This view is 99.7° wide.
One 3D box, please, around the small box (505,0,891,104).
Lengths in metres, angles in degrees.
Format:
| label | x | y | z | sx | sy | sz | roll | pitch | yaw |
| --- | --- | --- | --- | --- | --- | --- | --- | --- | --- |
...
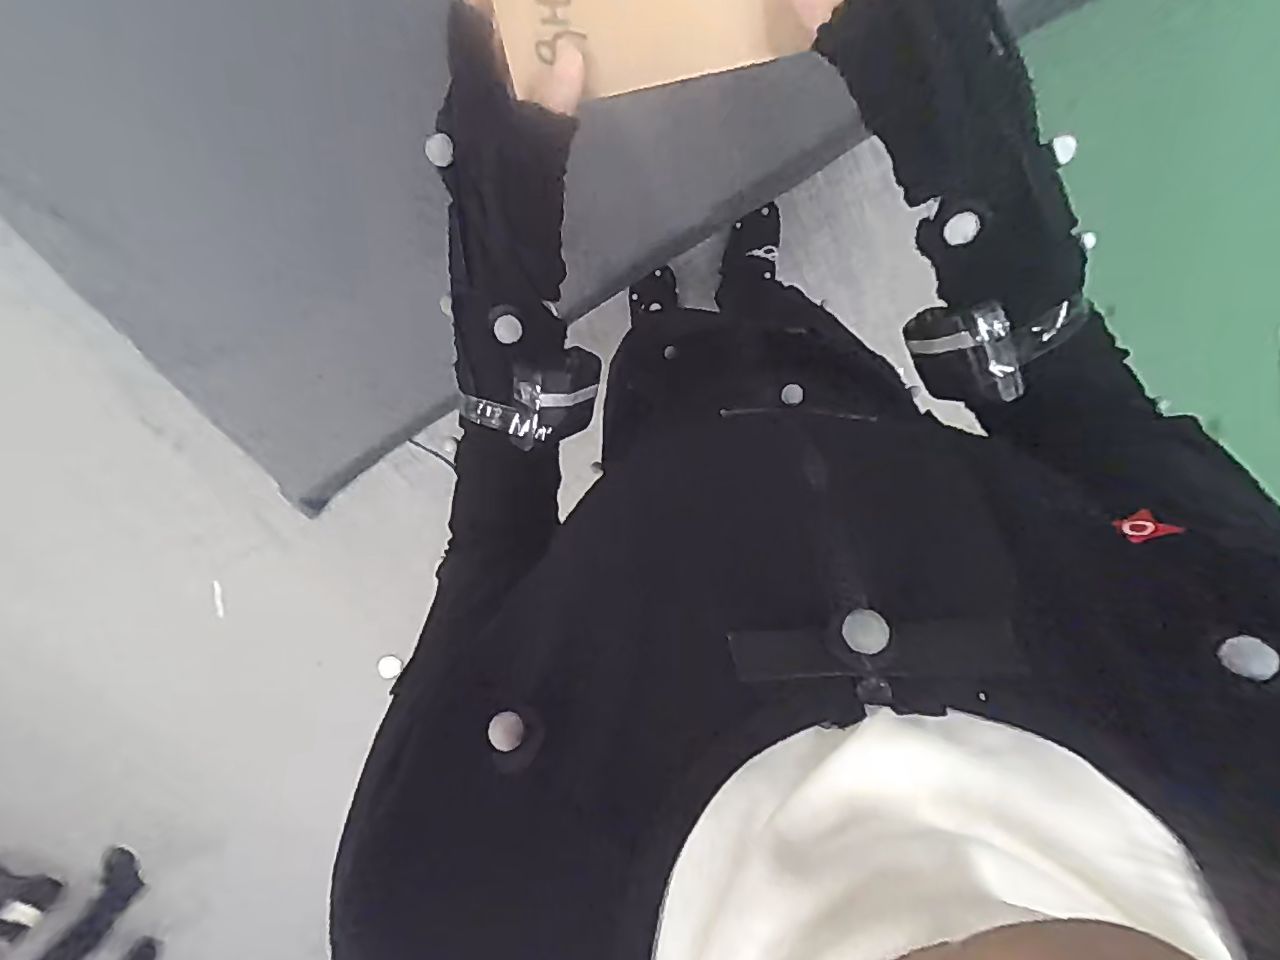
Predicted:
| label | x | y | z | sx | sy | sz | roll | pitch | yaw |
| --- | --- | --- | --- | --- | --- | --- | --- | --- | --- |
| small box | 0.015 | -0.307 | 0.267 | 0.179 | 0.176 | 0.168 | -8 | 130 | 3 |
